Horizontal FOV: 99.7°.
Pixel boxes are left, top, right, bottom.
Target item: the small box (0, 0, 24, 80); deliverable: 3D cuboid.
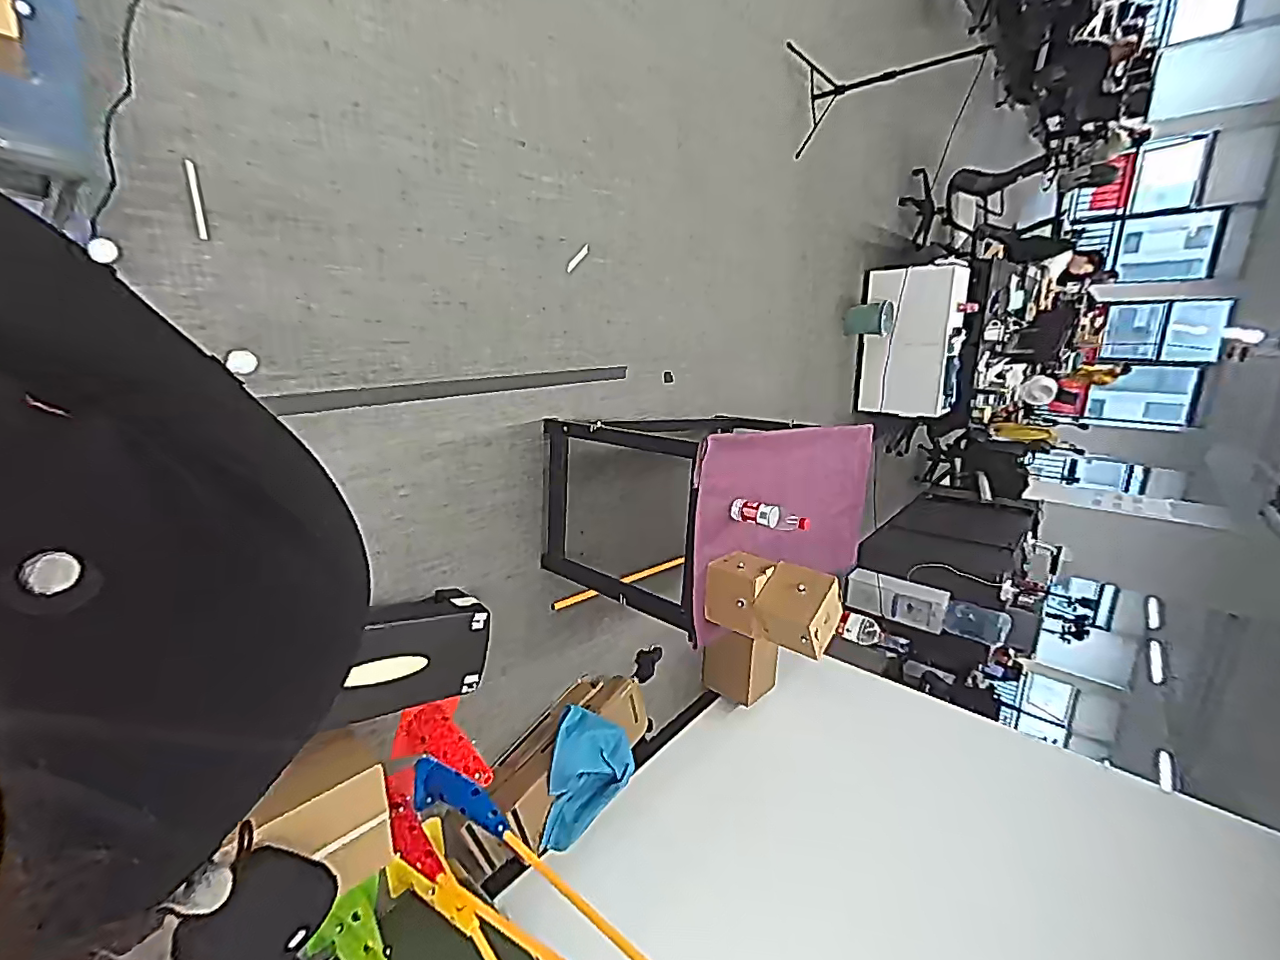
[{"bbox_3d":[-0.945,-0.663,0.702,0.179,0.176,0.168,-10,107,-47],"label":"small box"}]
